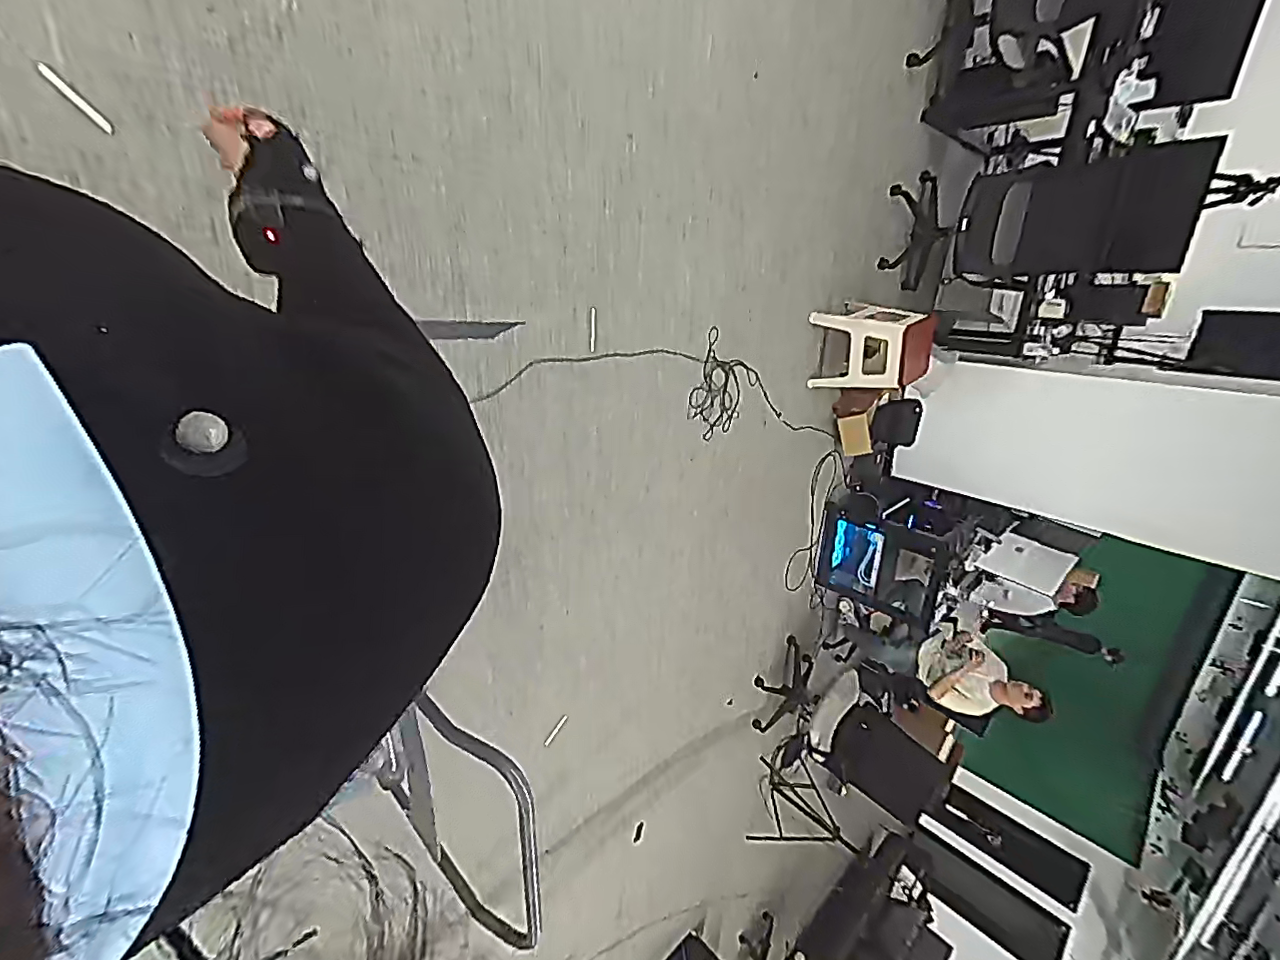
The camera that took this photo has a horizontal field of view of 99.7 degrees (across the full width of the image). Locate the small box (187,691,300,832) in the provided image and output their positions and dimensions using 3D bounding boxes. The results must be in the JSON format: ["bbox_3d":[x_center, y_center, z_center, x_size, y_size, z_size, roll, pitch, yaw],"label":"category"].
[{"bbox_3d":[-0.856,0.597,1.170,0.168,0.176,0.179,-12,113,-43],"label":"small box"}]
